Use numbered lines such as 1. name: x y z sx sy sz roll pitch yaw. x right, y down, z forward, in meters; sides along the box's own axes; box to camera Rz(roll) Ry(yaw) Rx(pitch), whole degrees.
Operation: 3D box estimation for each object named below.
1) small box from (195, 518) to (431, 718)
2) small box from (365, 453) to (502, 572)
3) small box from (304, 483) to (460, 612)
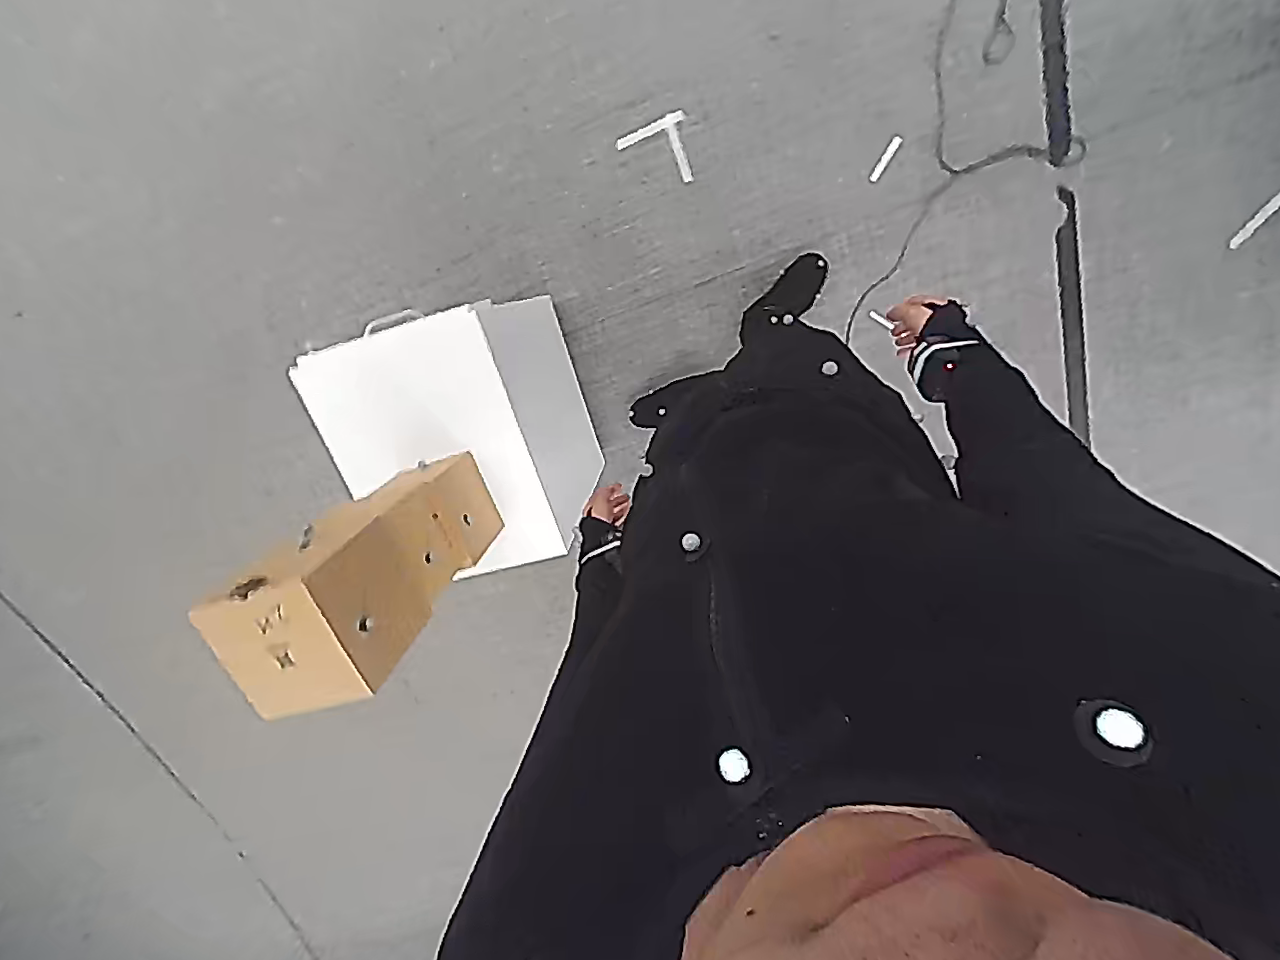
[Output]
1. small box: -0.411 0.176 0.717 0.168 0.176 0.179 -16 109 10
2. small box: -0.387 0.071 1.026 0.168 0.176 0.179 -17 108 11
3. small box: -0.415 0.122 0.874 0.179 0.176 0.168 -16 109 11
